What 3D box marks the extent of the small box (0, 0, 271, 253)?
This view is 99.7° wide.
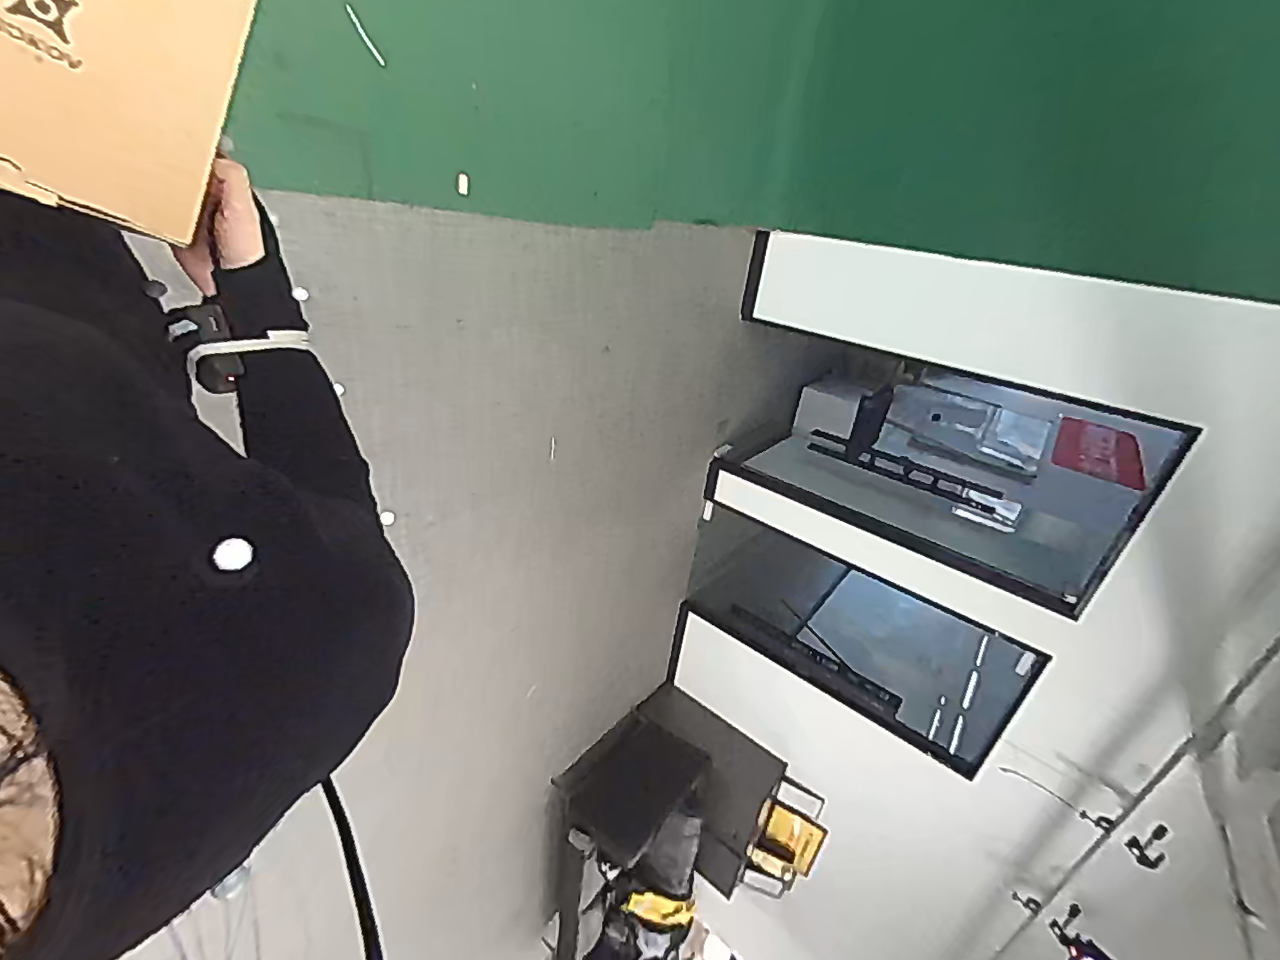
[{"bbox_3d":[-0.371,-0.268,0.331,0.168,0.176,0.179,14,98,-56],"label":"small box"}]
